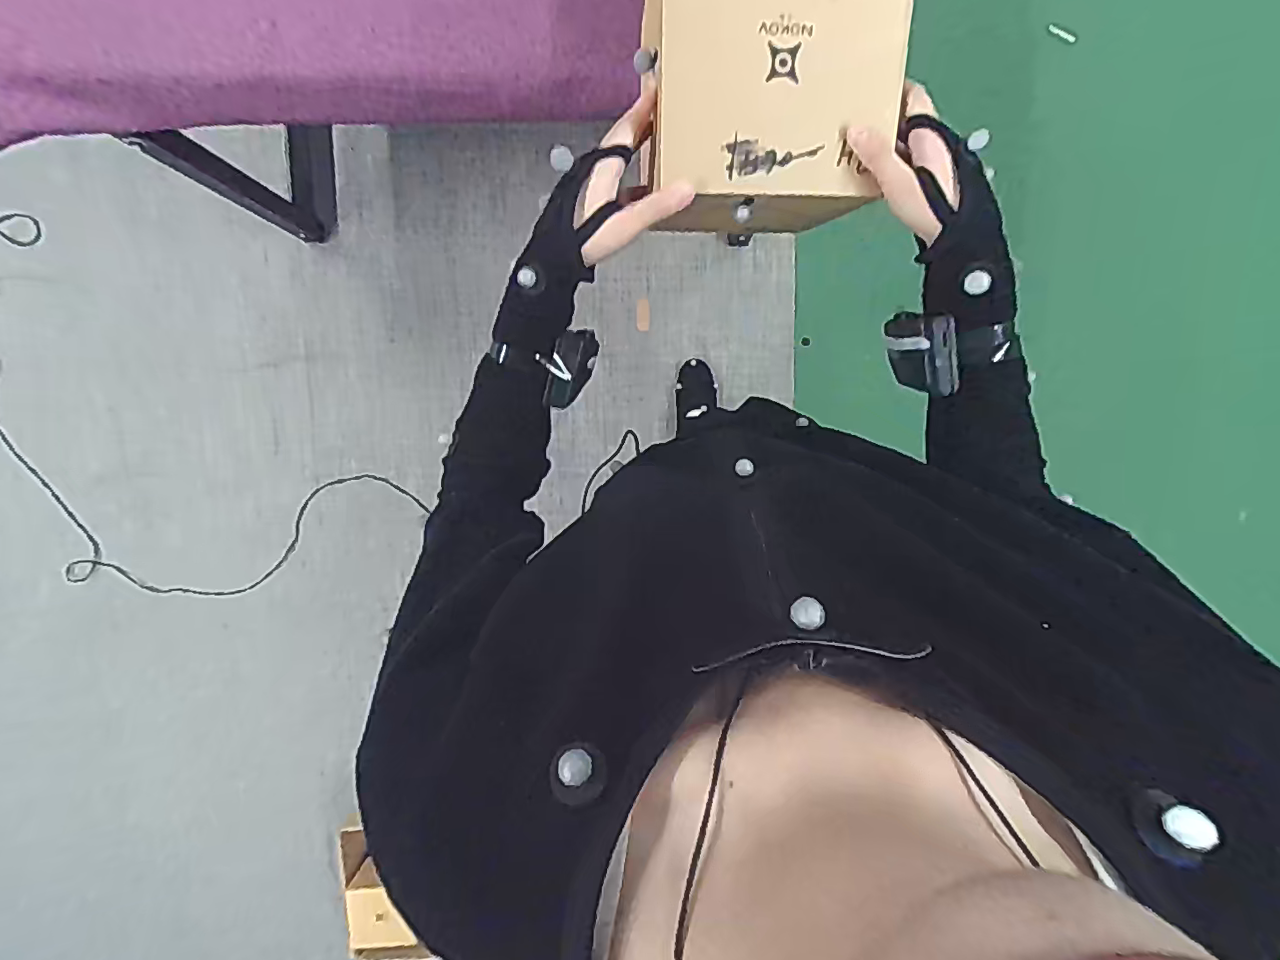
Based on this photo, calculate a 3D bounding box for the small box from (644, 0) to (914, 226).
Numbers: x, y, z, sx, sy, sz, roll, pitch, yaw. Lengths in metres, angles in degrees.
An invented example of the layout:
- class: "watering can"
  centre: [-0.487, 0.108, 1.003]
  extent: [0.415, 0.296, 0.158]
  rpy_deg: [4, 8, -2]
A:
- class: "small box"
  centre: [0.091, -0.316, 0.430]
  extent: [0.168, 0.176, 0.179]
  rpy_deg: [0, 106, -4]
